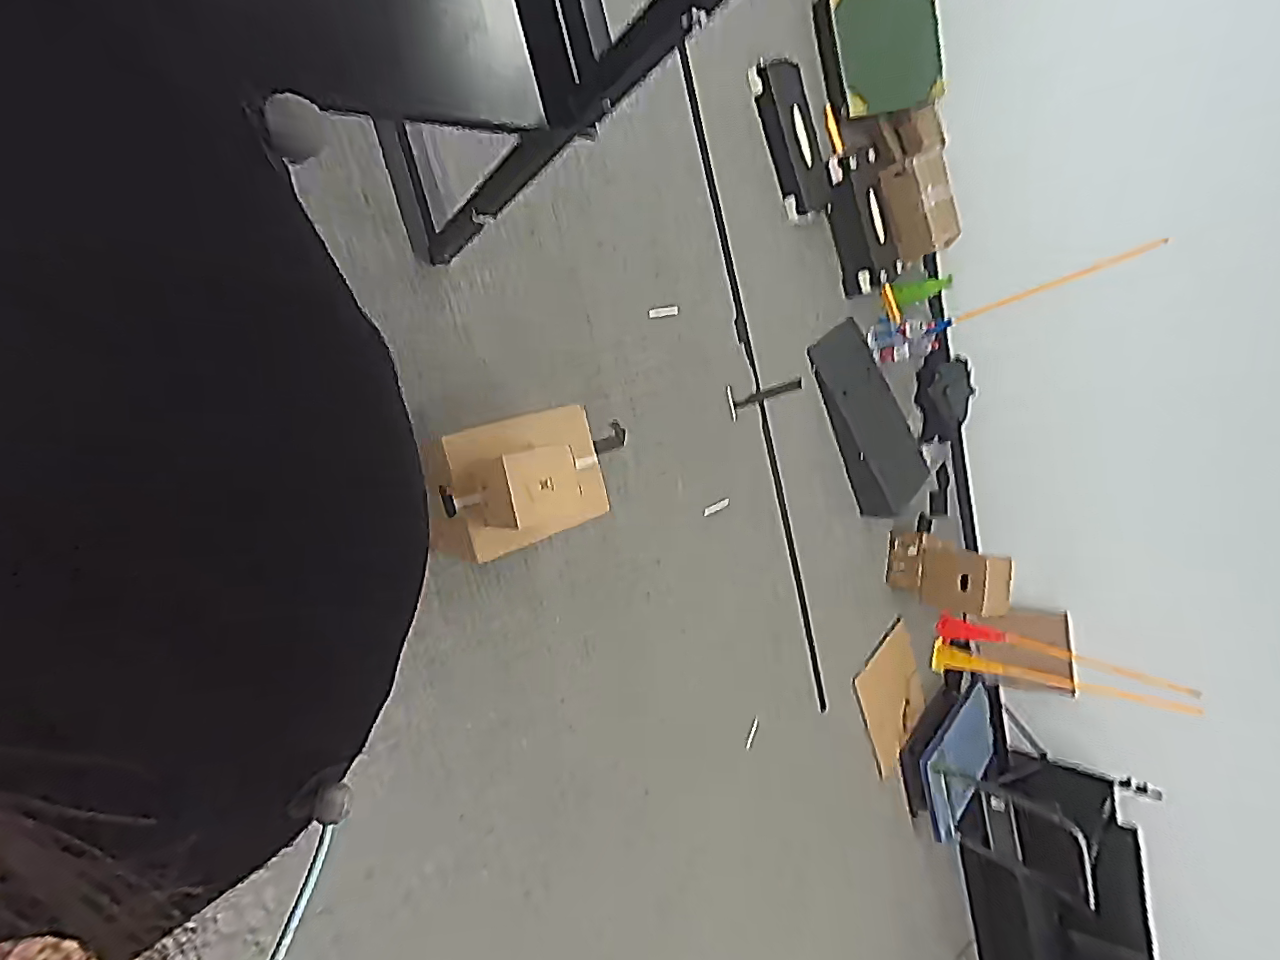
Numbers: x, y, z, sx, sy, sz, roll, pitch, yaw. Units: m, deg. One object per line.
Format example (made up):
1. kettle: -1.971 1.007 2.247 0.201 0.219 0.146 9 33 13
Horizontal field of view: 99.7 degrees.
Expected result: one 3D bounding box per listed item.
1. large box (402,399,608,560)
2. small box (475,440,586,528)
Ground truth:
1. large box: -0.364 -0.010 1.472 0.408 0.320 0.320 -22 104 -38
2. small box: -0.253 0.006 1.245 0.179 0.176 0.168 -17 98 -38
